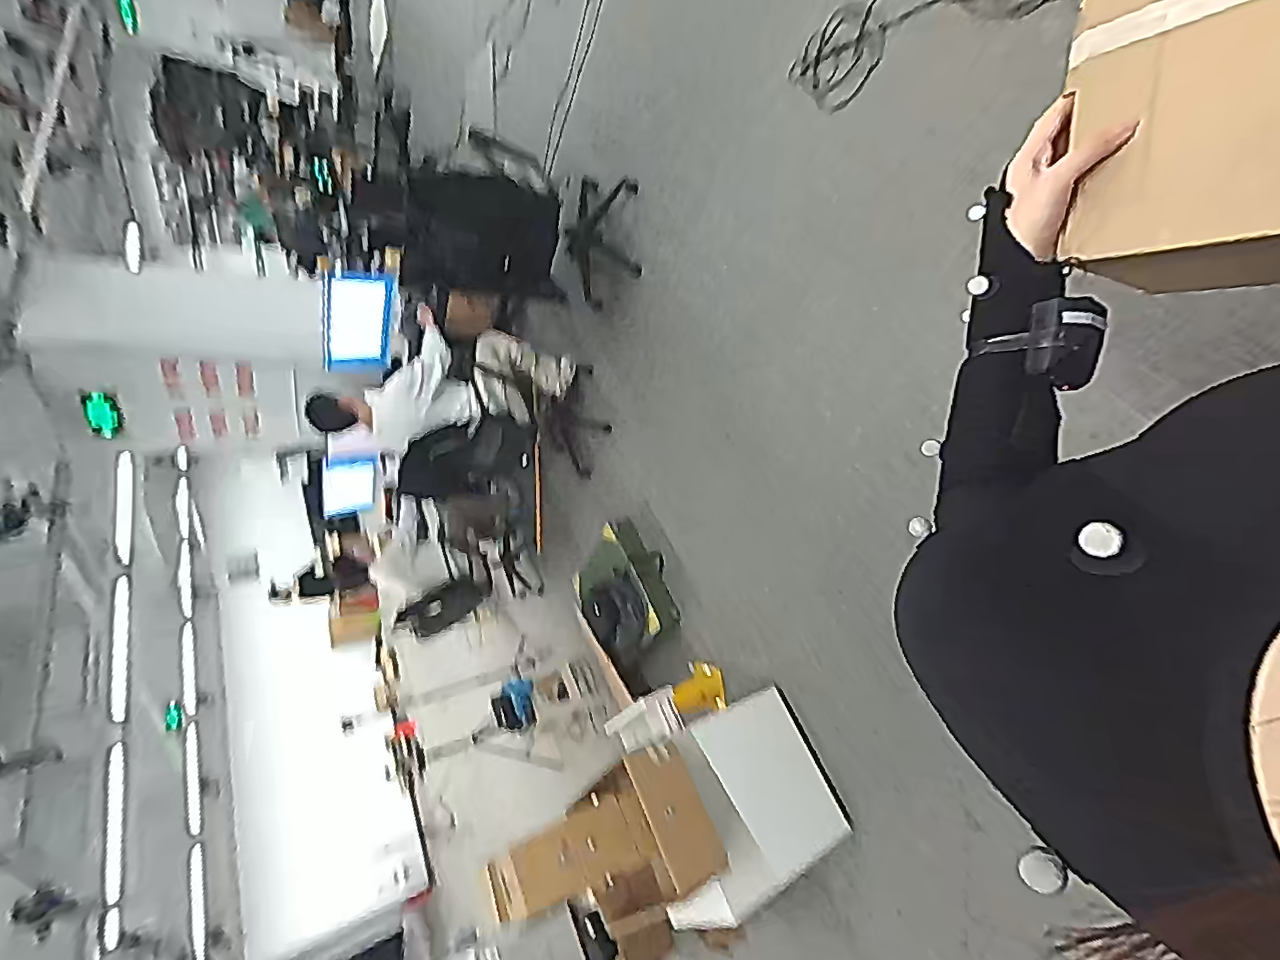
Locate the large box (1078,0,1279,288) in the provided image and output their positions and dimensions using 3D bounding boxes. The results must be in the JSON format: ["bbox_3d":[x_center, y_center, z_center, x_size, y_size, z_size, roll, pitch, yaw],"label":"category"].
[{"bbox_3d":[0.586,-0.322,0.345,0.408,0.320,0.320,14,108,51],"label":"large box"}]
